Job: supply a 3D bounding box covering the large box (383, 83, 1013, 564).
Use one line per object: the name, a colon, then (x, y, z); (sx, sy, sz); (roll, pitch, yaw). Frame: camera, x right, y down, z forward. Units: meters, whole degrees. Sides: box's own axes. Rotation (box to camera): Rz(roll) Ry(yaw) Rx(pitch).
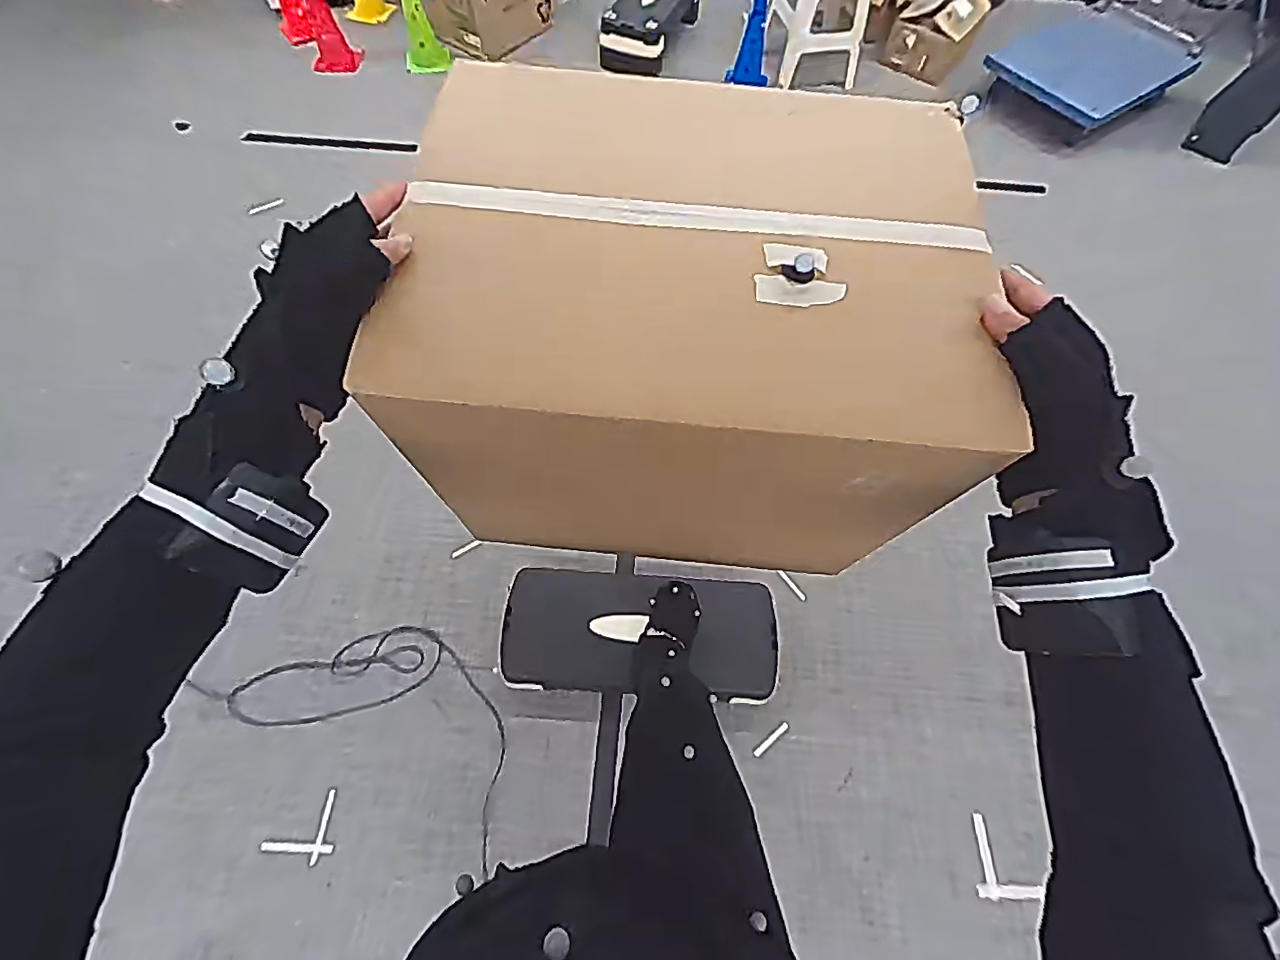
large box: (0.039, -0.118, 0.529); (0.408, 0.320, 0.320); (6, 67, -1)
